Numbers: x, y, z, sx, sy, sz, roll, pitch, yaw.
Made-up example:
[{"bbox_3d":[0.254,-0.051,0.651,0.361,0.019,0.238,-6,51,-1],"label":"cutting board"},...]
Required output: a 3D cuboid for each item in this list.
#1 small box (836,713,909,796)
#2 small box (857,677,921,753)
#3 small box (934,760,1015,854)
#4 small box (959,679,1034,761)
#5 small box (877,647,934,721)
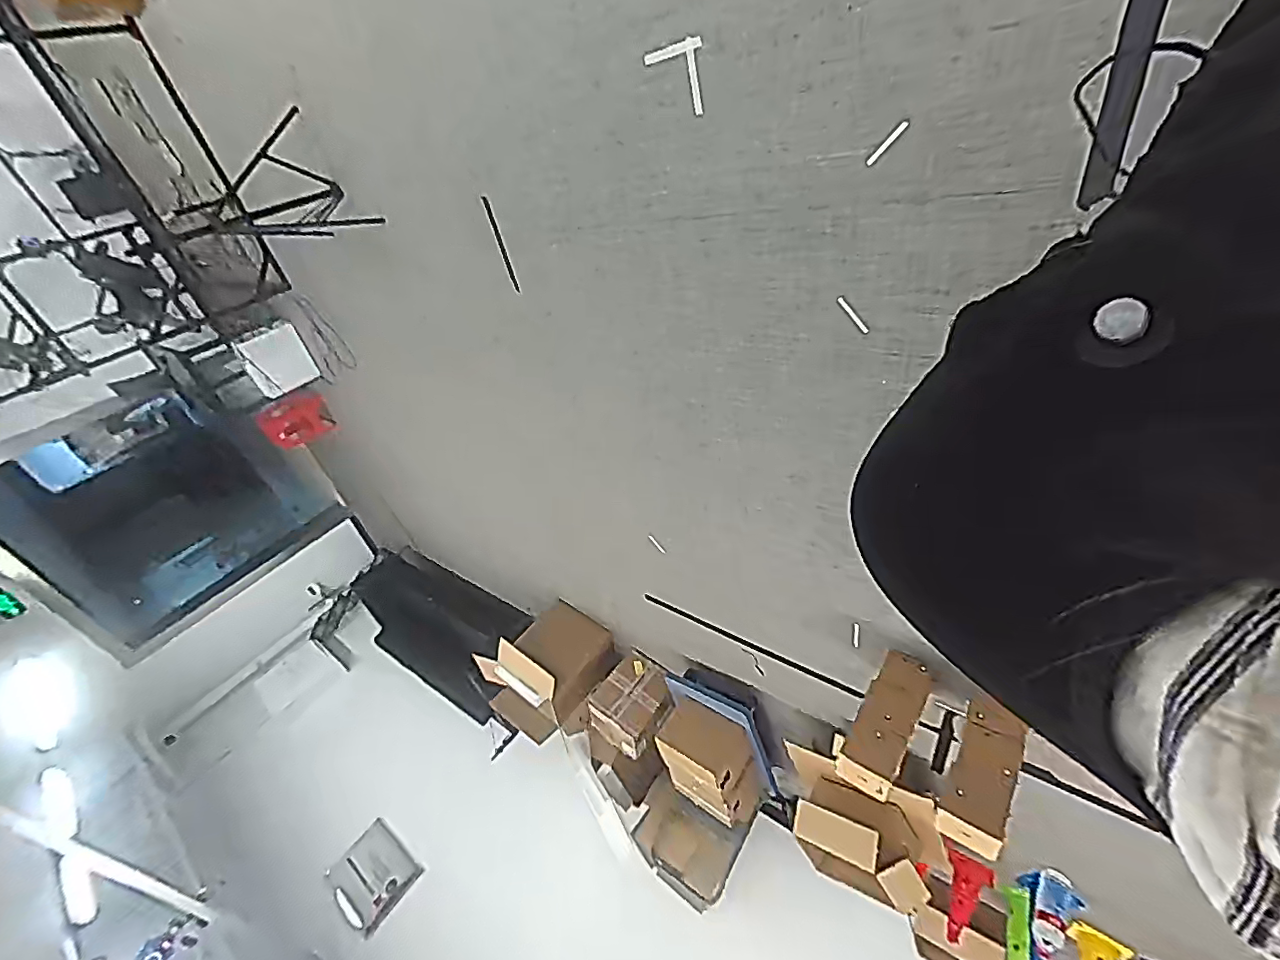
[{"bbox_3d":[0.813,0.952,1.894,0.179,0.176,0.168,22,140,33],"label":"small box"},{"bbox_3d":[0.913,0.860,1.987,0.179,0.176,0.168,19,137,35],"label":"small box"},{"bbox_3d":[1.056,1.023,1.709,0.179,0.176,0.168,16,138,37],"label":"small box"},{"bbox_3d":[1.250,0.834,1.893,0.179,0.176,0.168,18,138,36],"label":"small box"},{"bbox_3d":[1.019,0.780,2.085,0.168,0.176,0.179,17,137,37],"label":"small box"}]
